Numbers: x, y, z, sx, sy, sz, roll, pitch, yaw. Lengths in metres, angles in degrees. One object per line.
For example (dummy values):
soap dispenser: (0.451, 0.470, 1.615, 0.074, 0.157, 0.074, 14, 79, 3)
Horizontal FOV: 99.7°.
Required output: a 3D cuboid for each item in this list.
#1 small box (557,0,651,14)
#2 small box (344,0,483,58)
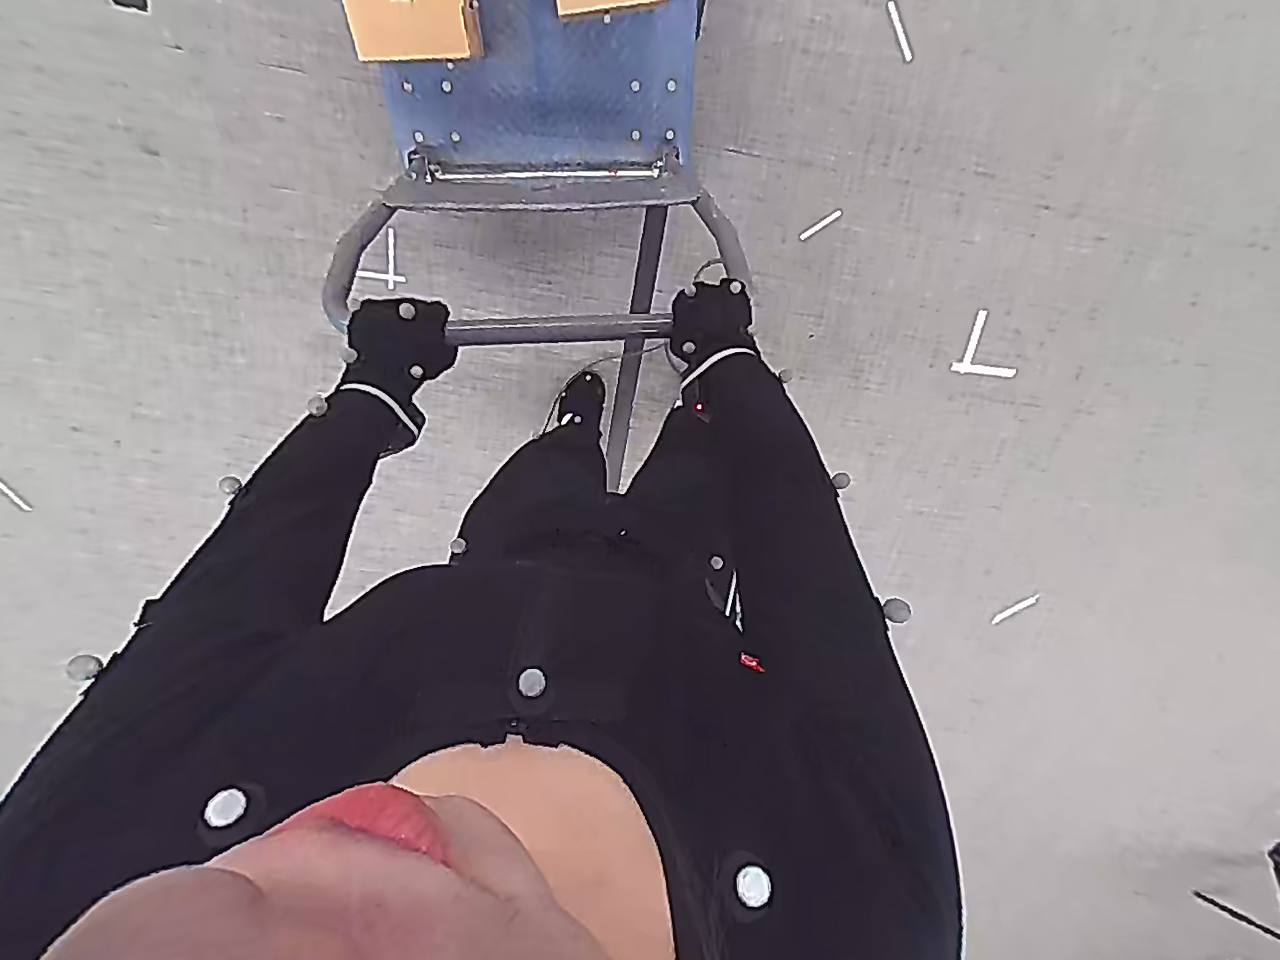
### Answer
small box: (-0.055, -0.845, 0.838, 0.179, 0.176, 0.168, -9, 129, 0)
small box: (-0.360, -0.777, 0.855, 0.179, 0.176, 0.168, -6, 128, -4)
